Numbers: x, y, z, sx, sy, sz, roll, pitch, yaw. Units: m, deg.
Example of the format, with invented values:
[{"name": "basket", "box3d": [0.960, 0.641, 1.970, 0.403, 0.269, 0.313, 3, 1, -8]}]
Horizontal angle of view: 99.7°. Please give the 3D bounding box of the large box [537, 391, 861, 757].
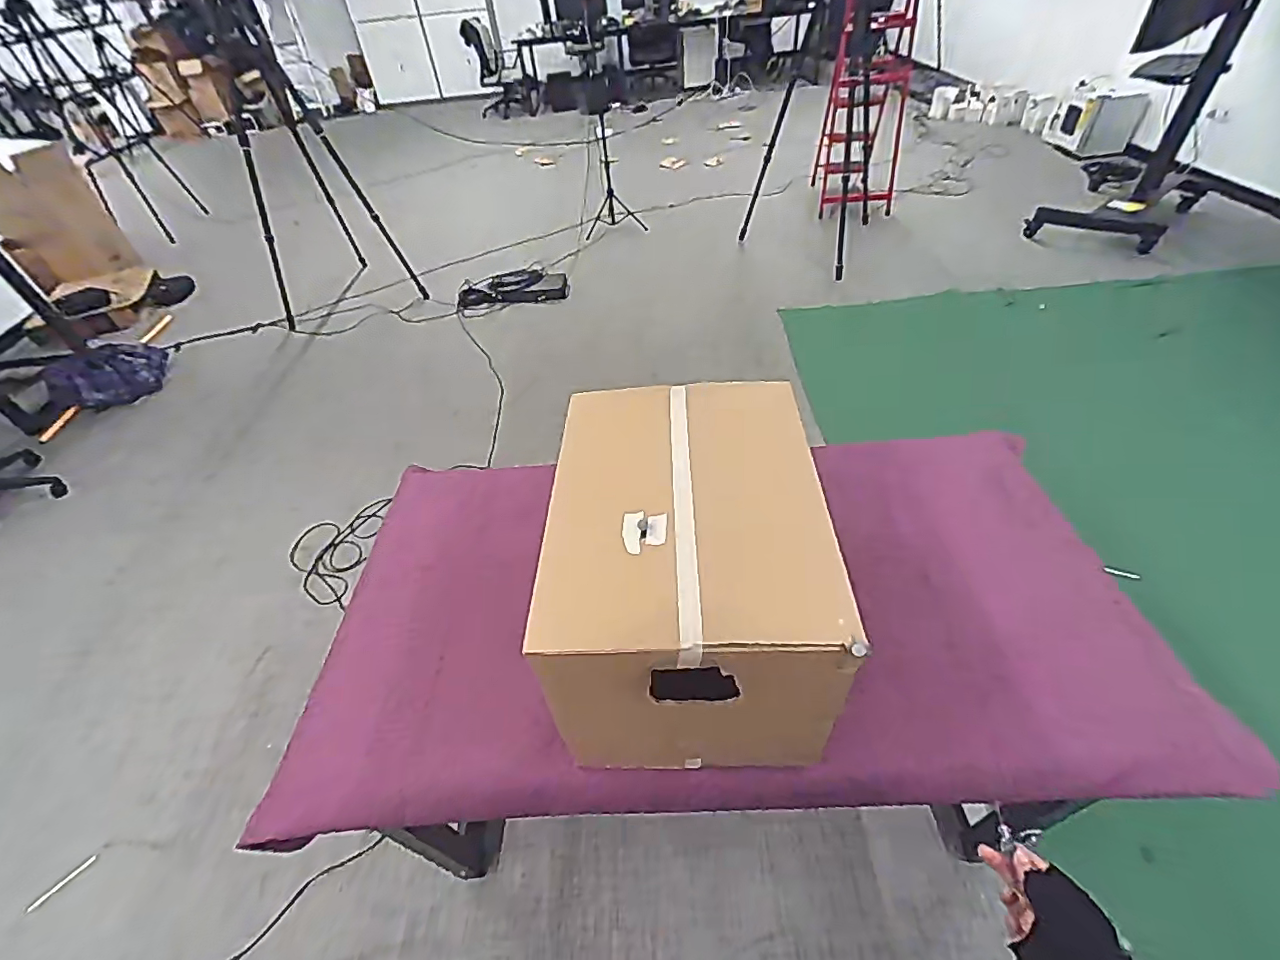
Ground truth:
[{"name": "large box", "box3d": [0.063, 0.121, 0.748, 0.320, 0.320, 0.408, -2, 46, 4]}]
